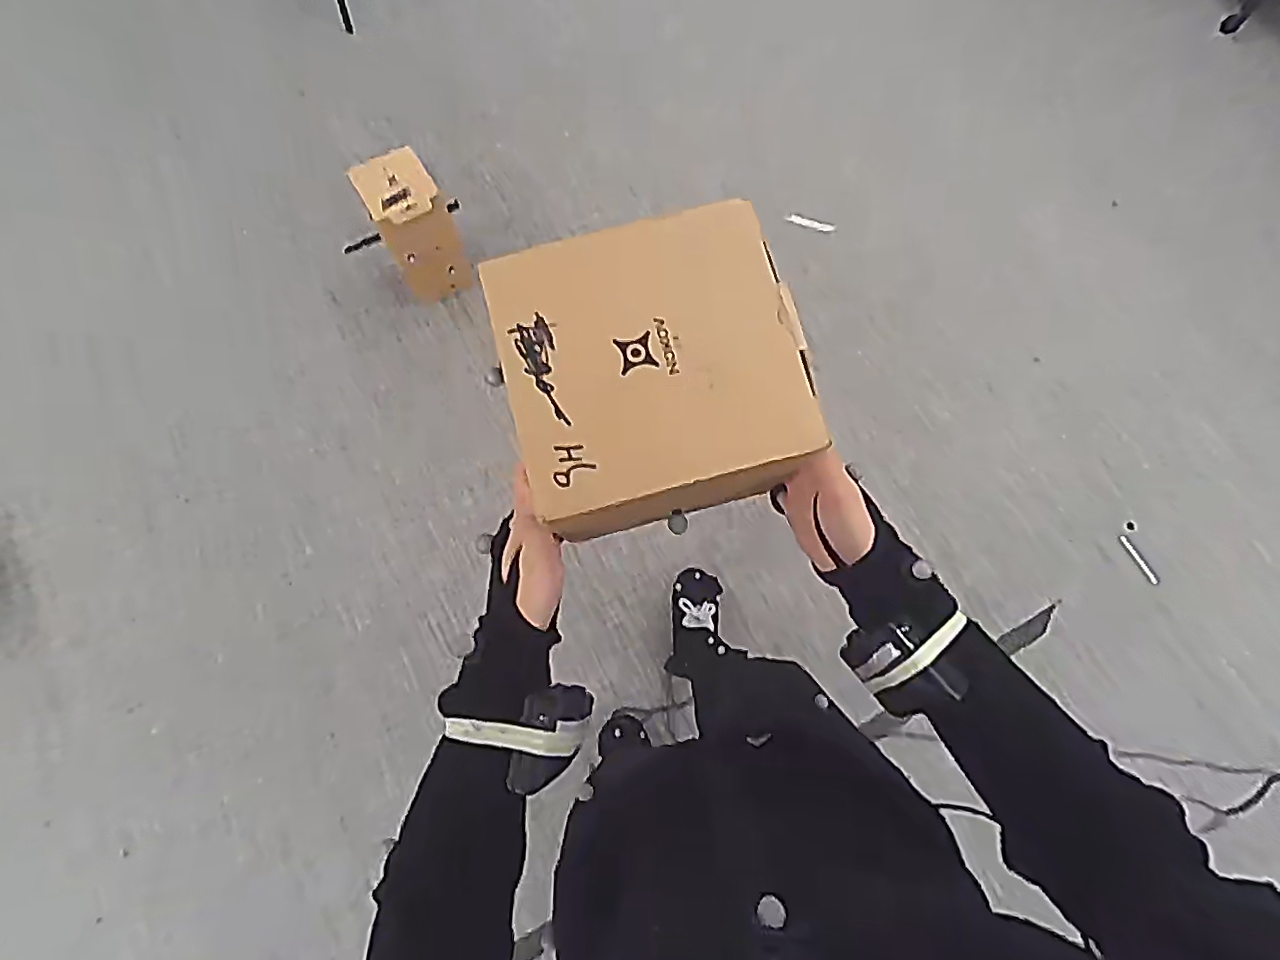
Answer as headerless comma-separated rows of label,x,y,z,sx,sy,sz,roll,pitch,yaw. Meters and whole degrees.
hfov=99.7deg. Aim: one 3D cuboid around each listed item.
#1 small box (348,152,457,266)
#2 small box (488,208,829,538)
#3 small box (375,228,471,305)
small box,-0.588,-0.670,1.363,0.168,0.176,0.179,-31,77,-11
small box,0.006,-0.060,0.399,0.179,0.176,0.168,-14,79,-4
small box,-0.600,-0.623,1.521,0.168,0.176,0.179,-32,77,-12
